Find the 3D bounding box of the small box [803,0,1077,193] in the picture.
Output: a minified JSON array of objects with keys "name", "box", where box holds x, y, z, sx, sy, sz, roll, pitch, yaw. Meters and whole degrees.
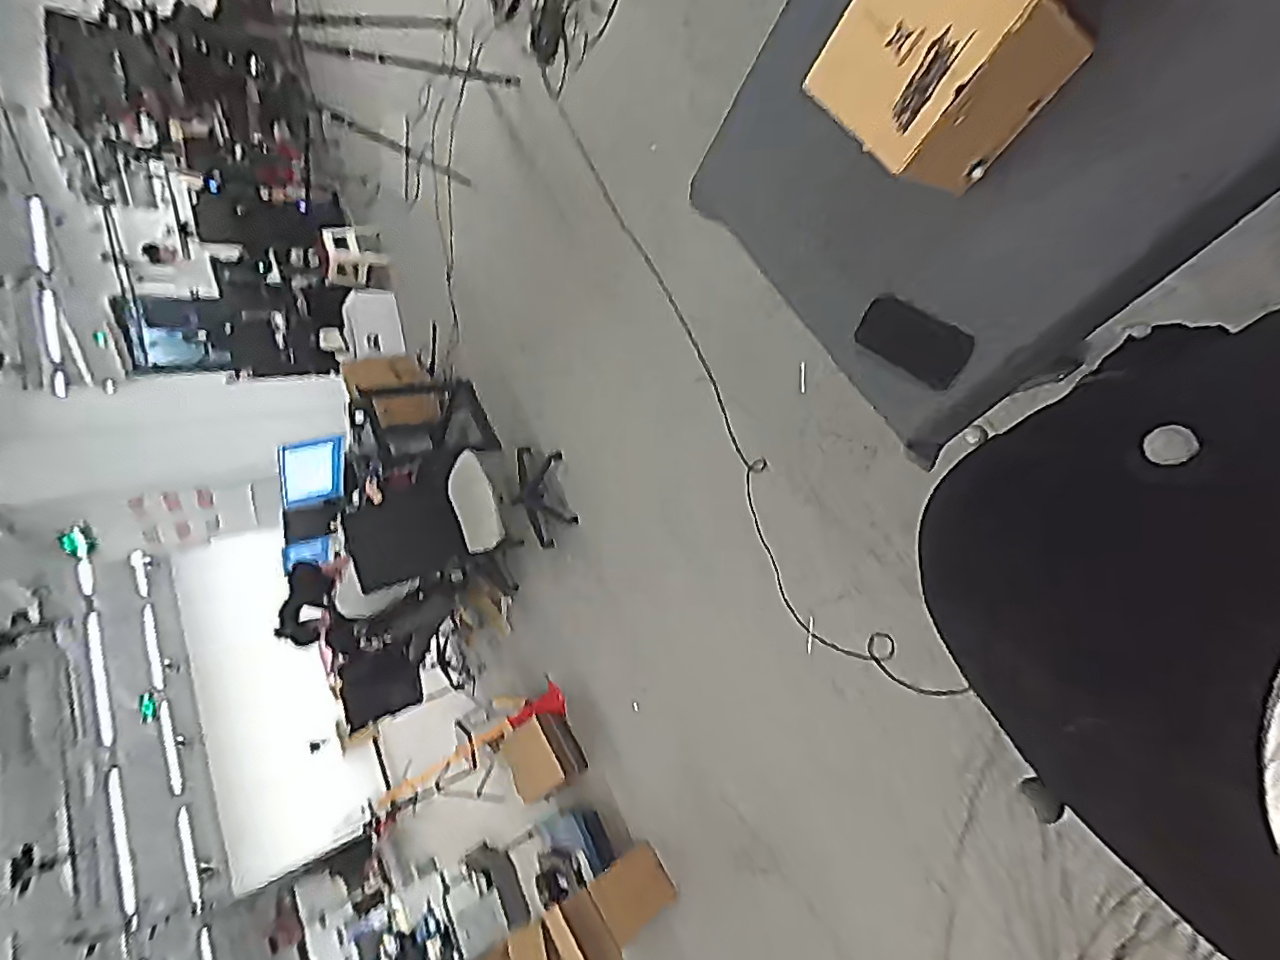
[{"name":"small box","box":[0.327,-0.446,0.598,0.179,0.176,0.168,60,139,22]}]
